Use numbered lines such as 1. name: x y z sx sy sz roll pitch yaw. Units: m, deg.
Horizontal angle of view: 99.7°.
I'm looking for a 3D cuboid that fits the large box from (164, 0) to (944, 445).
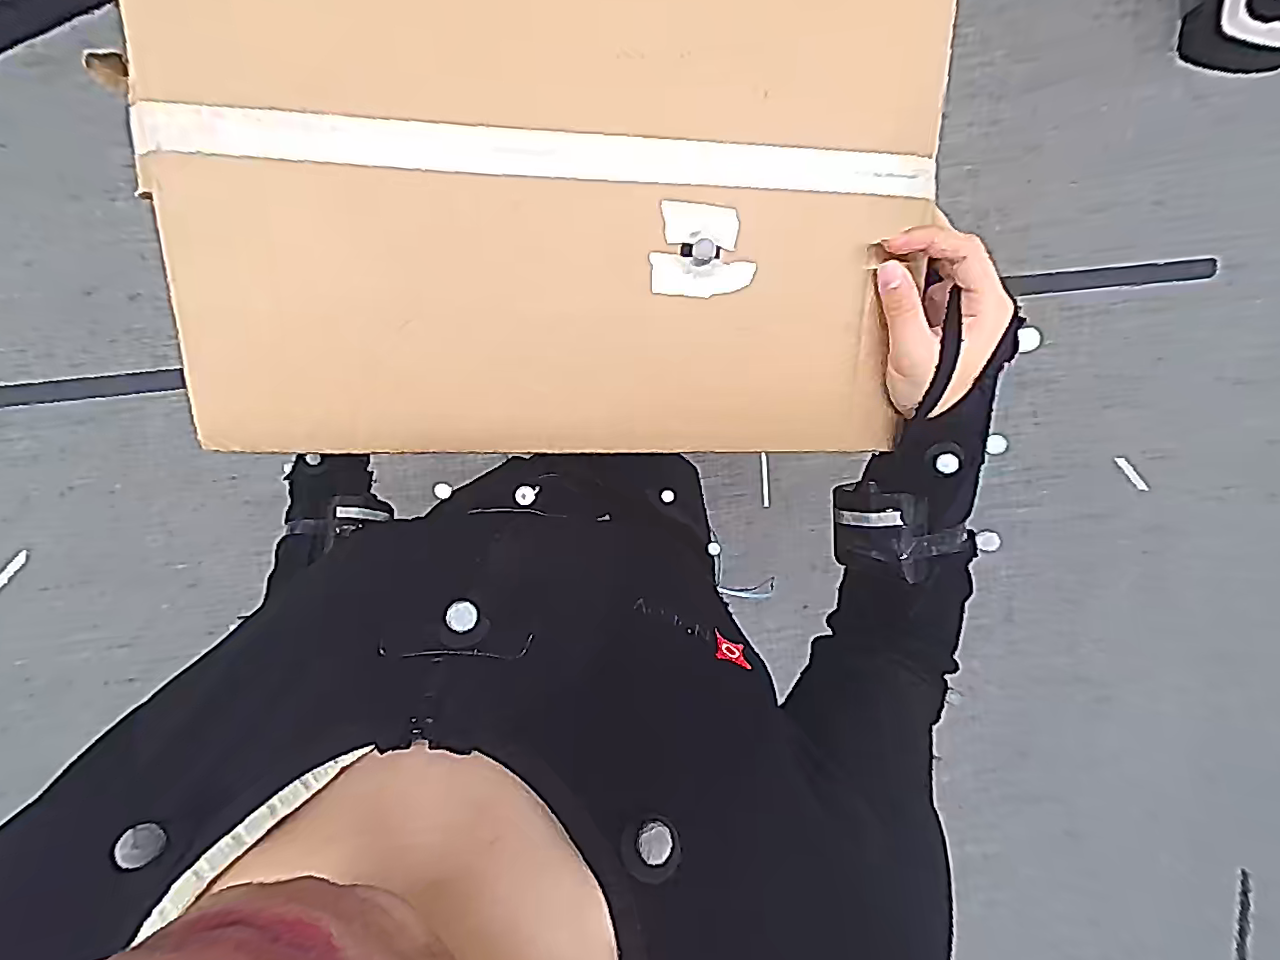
1. large box: -0.052 -0.207 0.435 0.408 0.320 0.320 -1 103 -9
